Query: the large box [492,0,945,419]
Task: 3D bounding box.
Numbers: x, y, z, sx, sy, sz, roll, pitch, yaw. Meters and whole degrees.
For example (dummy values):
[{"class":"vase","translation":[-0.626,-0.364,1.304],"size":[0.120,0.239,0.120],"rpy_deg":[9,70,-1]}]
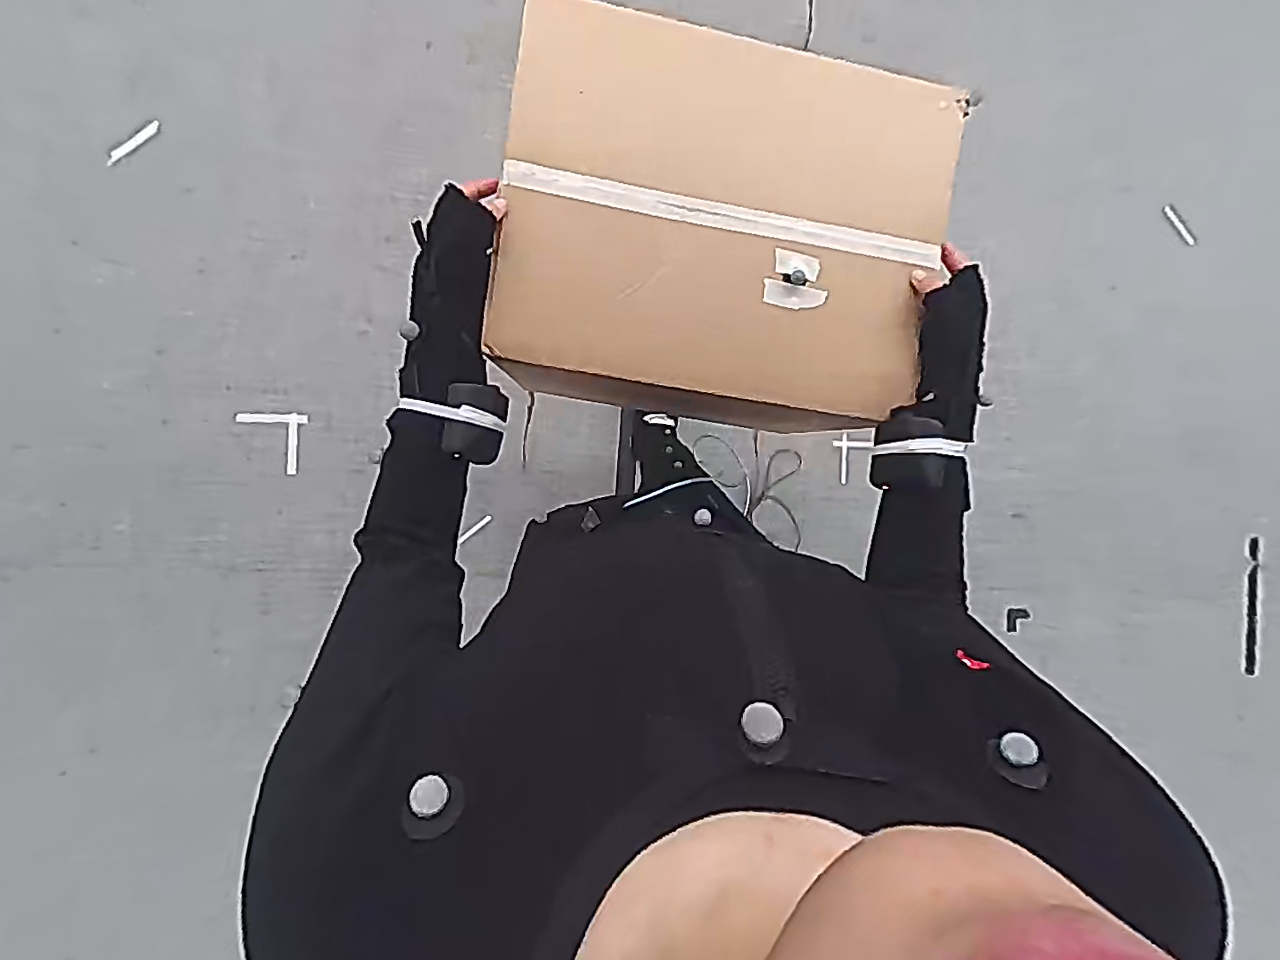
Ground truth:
[{"class":"large box","translation":[0.062,-0.259,0.652],"size":[0.408,0.320,0.320],"rpy_deg":[9,94,-7]}]
